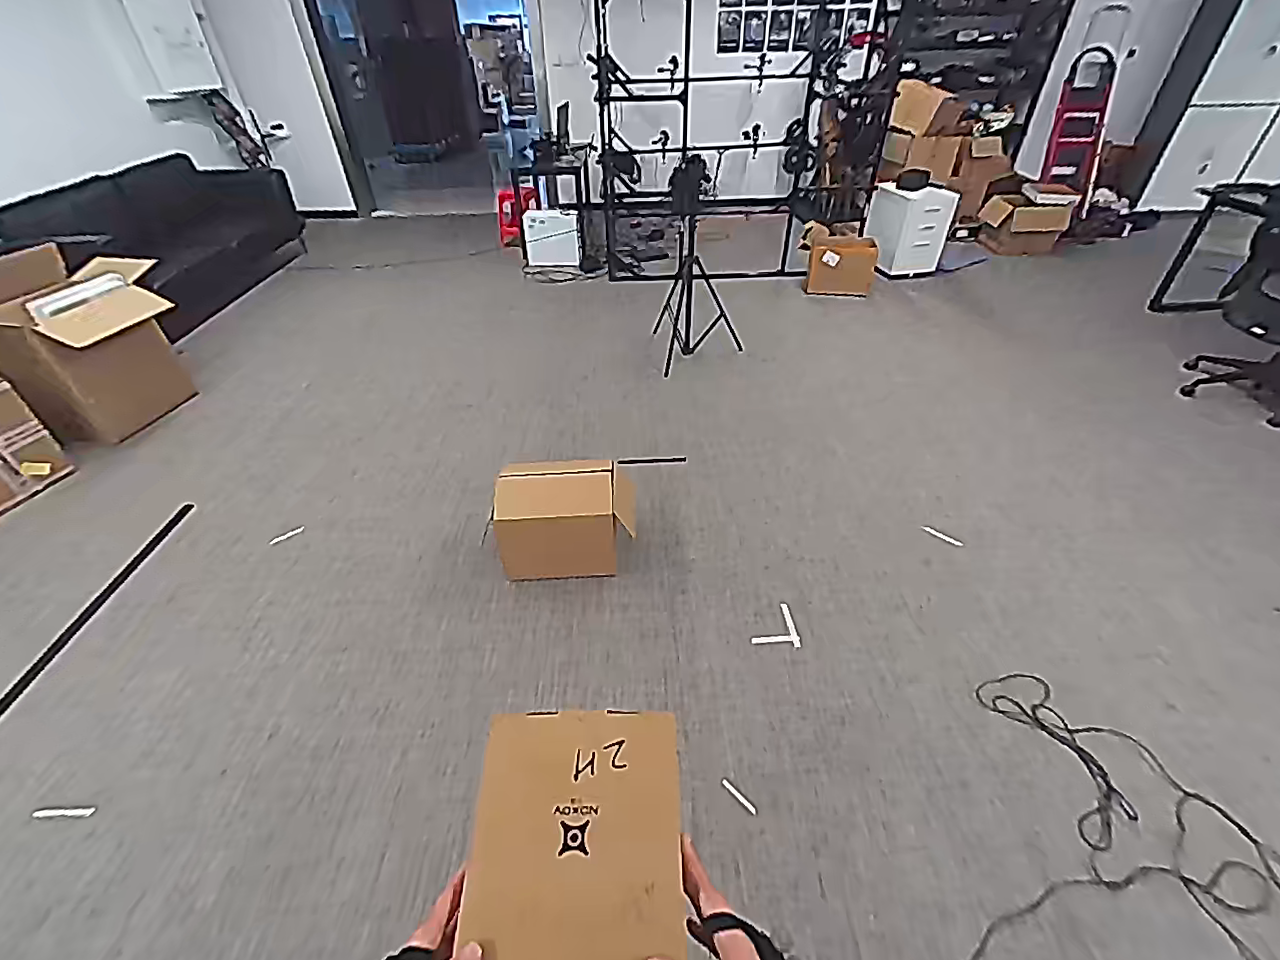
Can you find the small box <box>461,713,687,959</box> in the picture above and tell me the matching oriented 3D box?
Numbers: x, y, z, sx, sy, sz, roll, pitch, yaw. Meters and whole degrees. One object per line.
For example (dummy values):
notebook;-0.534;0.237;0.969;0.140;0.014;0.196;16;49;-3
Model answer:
small box;-0.045;0.330;0.495;0.168;0.176;0.179;0;48;0
